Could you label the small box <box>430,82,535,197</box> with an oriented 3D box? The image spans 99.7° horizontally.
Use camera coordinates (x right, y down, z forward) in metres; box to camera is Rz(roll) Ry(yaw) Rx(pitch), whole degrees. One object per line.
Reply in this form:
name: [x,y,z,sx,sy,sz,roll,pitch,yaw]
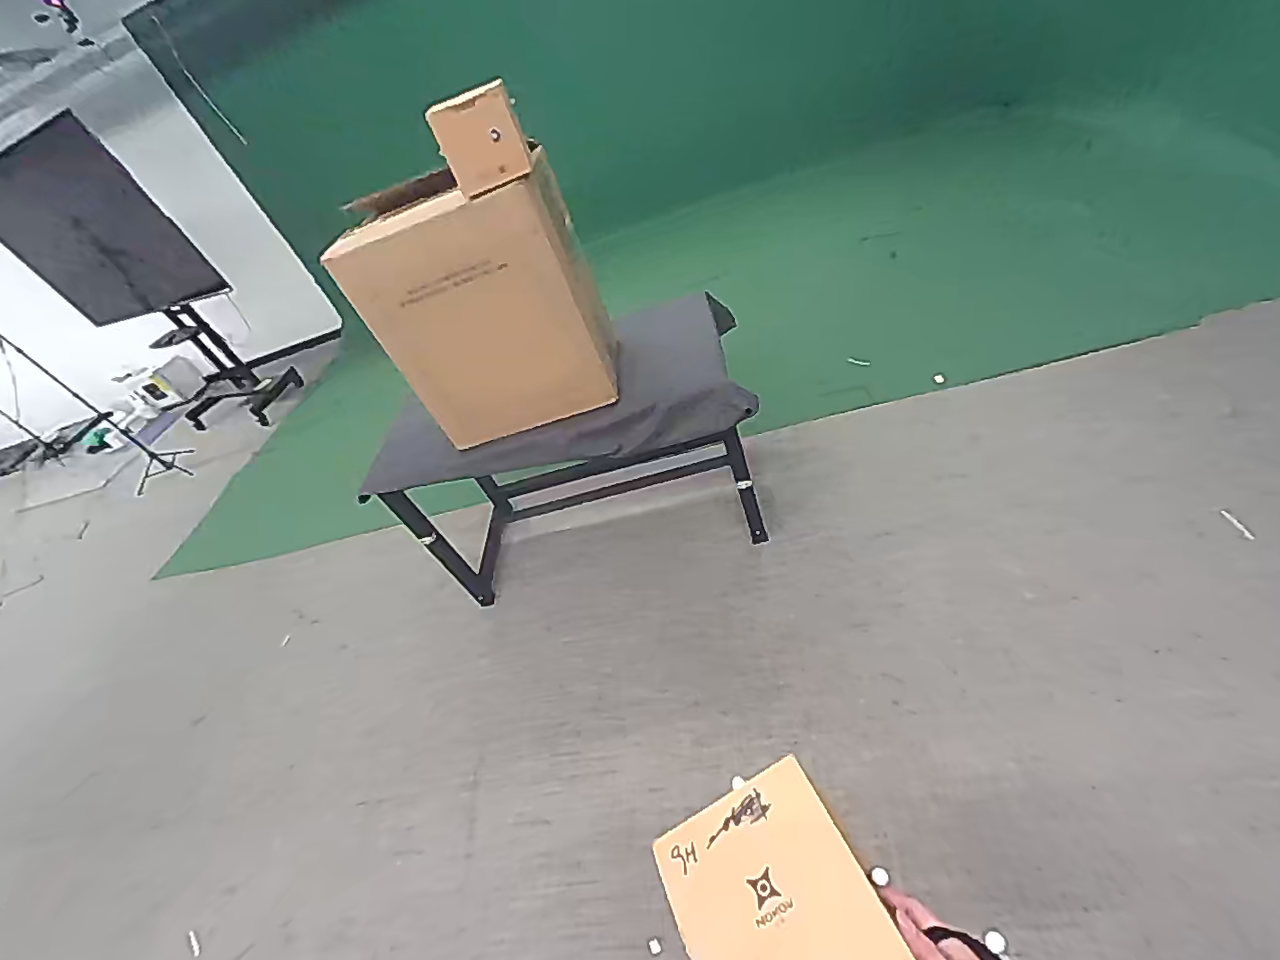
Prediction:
small box: [-0.343,-0.761,1.215,0.168,0.176,0.179,-19,40,4]
